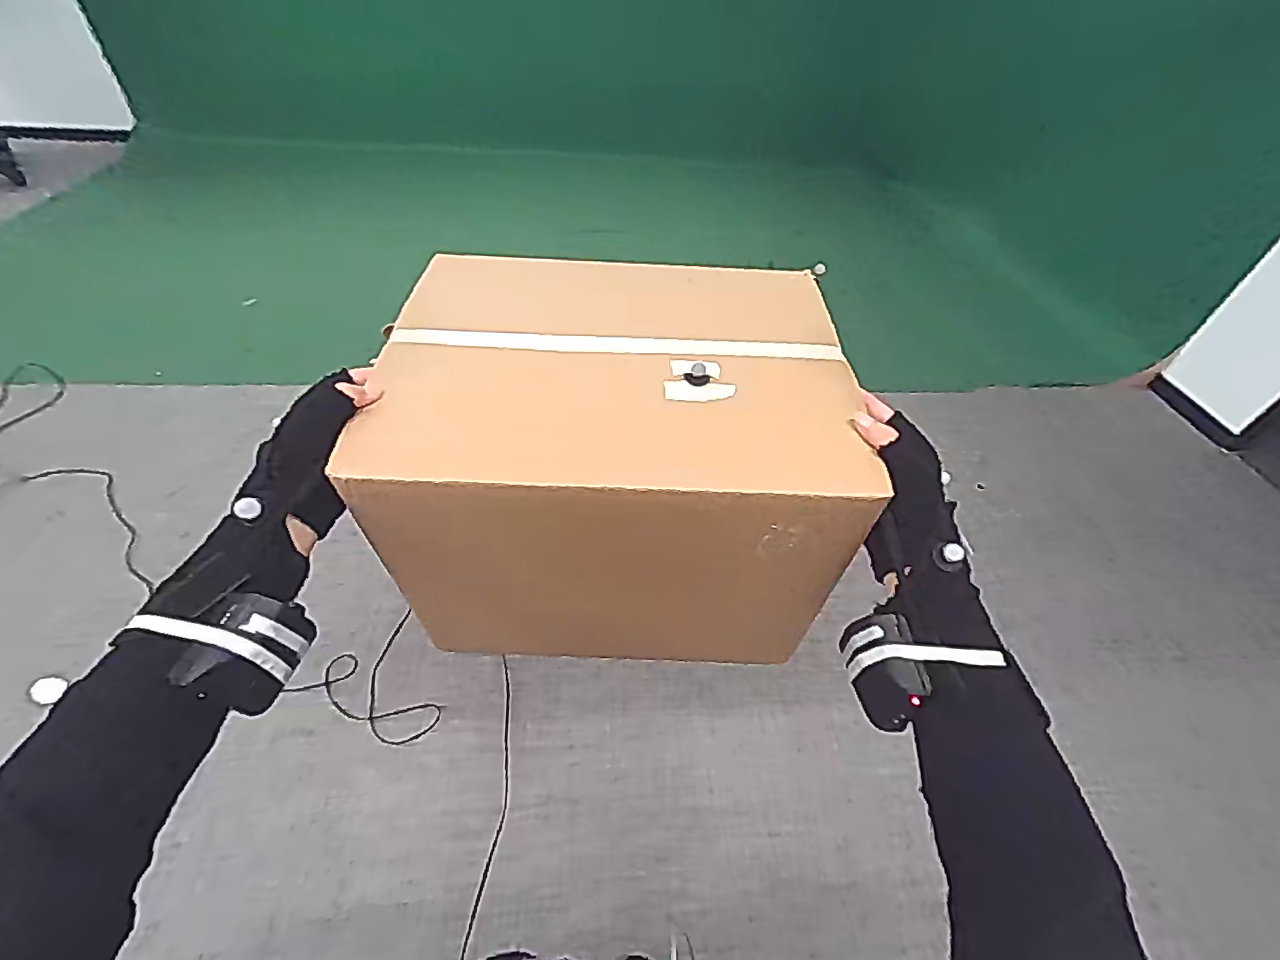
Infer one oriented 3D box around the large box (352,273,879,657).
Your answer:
[{"bbox_3d":[-0.025,-0.007,0.608,0.408,0.320,0.320,2,50,-2],"label":"large box"}]
